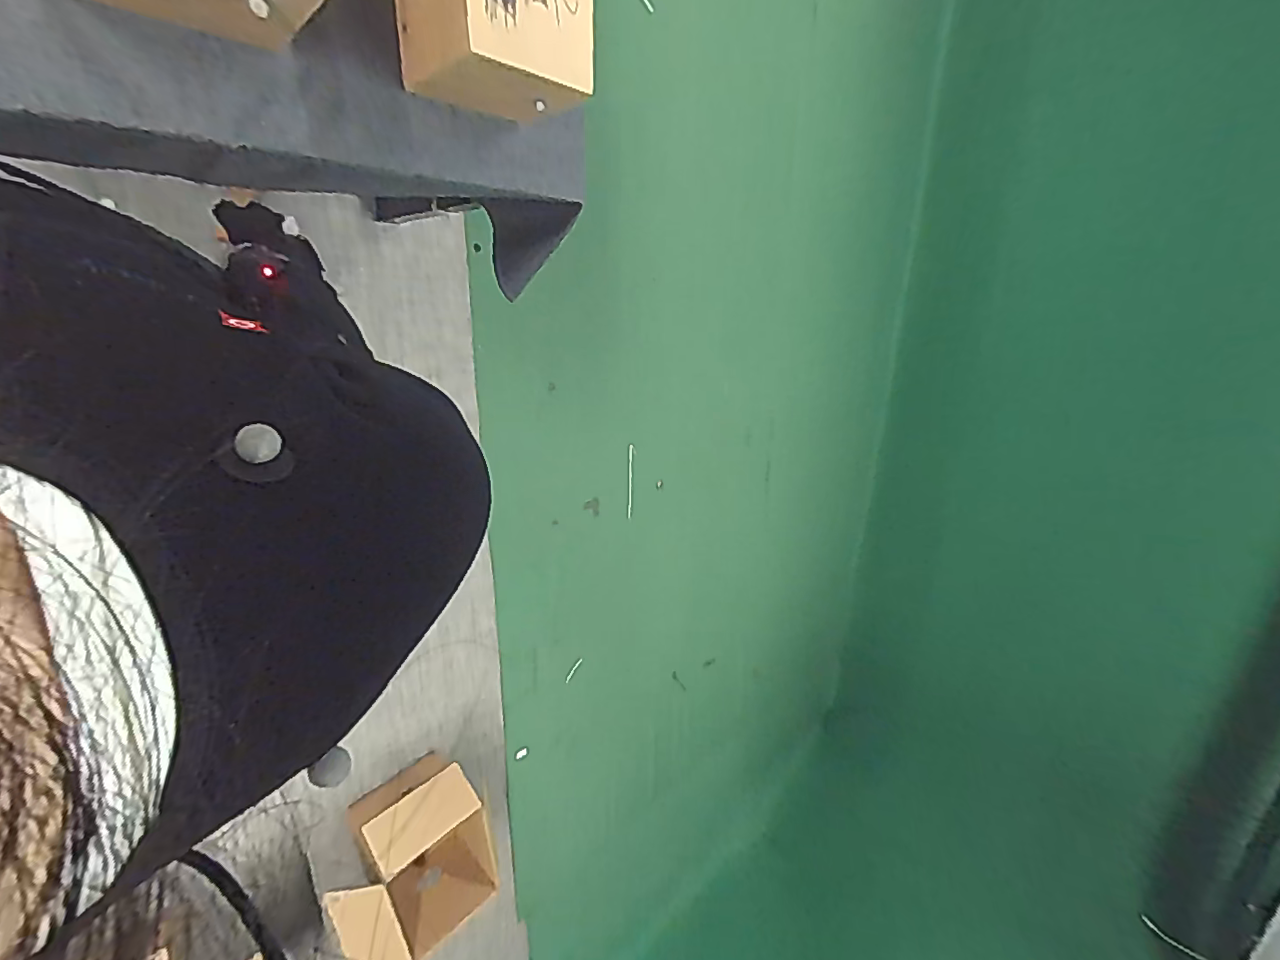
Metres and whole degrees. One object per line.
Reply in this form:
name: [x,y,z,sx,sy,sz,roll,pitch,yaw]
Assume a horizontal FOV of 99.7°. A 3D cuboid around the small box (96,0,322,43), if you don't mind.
small box: [-0.395,-0.504,0.450,0.179,0.176,0.168,-16,114,-42]
